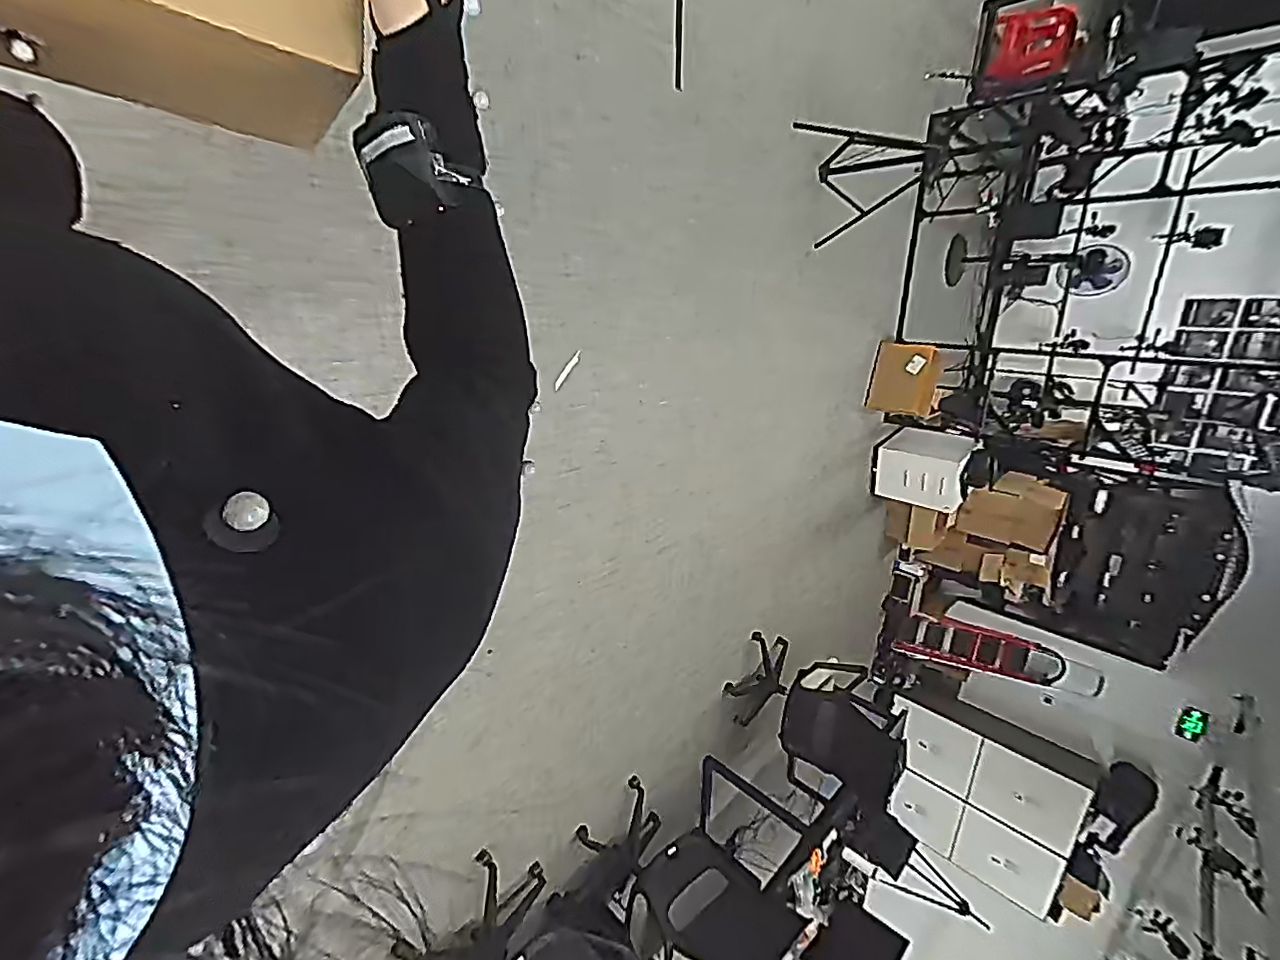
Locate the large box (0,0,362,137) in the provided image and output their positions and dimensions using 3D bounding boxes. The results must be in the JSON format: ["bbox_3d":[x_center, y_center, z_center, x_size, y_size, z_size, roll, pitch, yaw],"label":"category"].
[{"bbox_3d":[-0.428,-0.479,0.355,0.408,0.320,0.320,-3,108,-35],"label":"large box"}]
